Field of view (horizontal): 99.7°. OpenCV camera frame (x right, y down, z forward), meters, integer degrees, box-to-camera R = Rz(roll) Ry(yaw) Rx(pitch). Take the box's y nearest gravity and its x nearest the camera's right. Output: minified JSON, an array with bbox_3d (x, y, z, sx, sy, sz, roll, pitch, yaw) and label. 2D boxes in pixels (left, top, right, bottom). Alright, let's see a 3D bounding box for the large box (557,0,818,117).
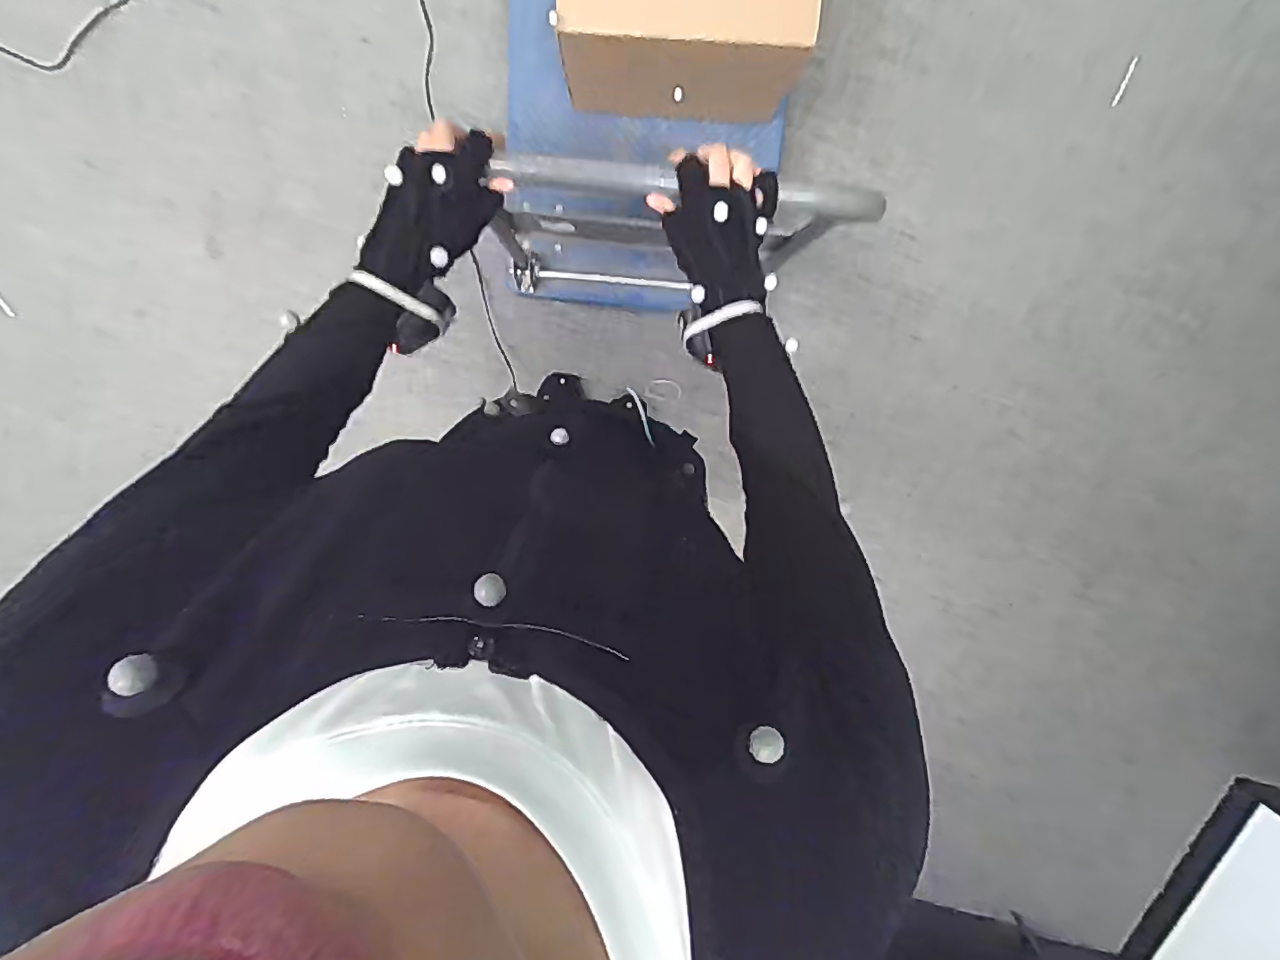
[{"bbox_3d":[0.077,-0.867,0.940,0.408,0.320,0.320,2,103,-1],"label":"large box"}]
